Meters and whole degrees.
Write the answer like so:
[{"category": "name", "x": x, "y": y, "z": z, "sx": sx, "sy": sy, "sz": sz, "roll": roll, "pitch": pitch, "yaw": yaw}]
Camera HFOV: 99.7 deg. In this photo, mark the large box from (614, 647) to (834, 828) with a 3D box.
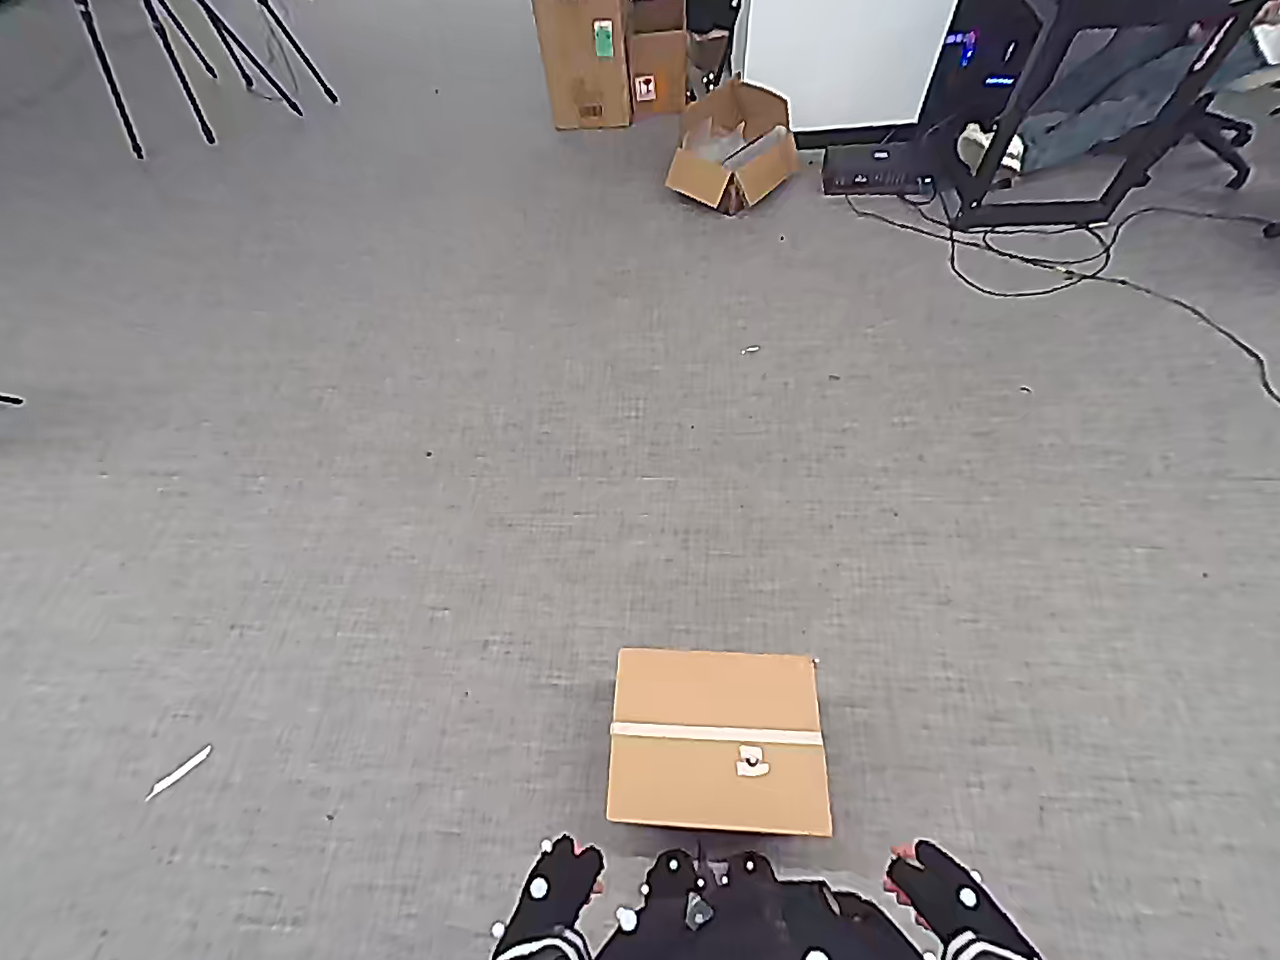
[{"category": "large box", "x": 0.160, "y": 0.563, "z": 1.173, "sx": 0.408, "sy": 0.320, "sz": 0.320, "roll": 1, "pitch": 59, "yaw": 4}]
